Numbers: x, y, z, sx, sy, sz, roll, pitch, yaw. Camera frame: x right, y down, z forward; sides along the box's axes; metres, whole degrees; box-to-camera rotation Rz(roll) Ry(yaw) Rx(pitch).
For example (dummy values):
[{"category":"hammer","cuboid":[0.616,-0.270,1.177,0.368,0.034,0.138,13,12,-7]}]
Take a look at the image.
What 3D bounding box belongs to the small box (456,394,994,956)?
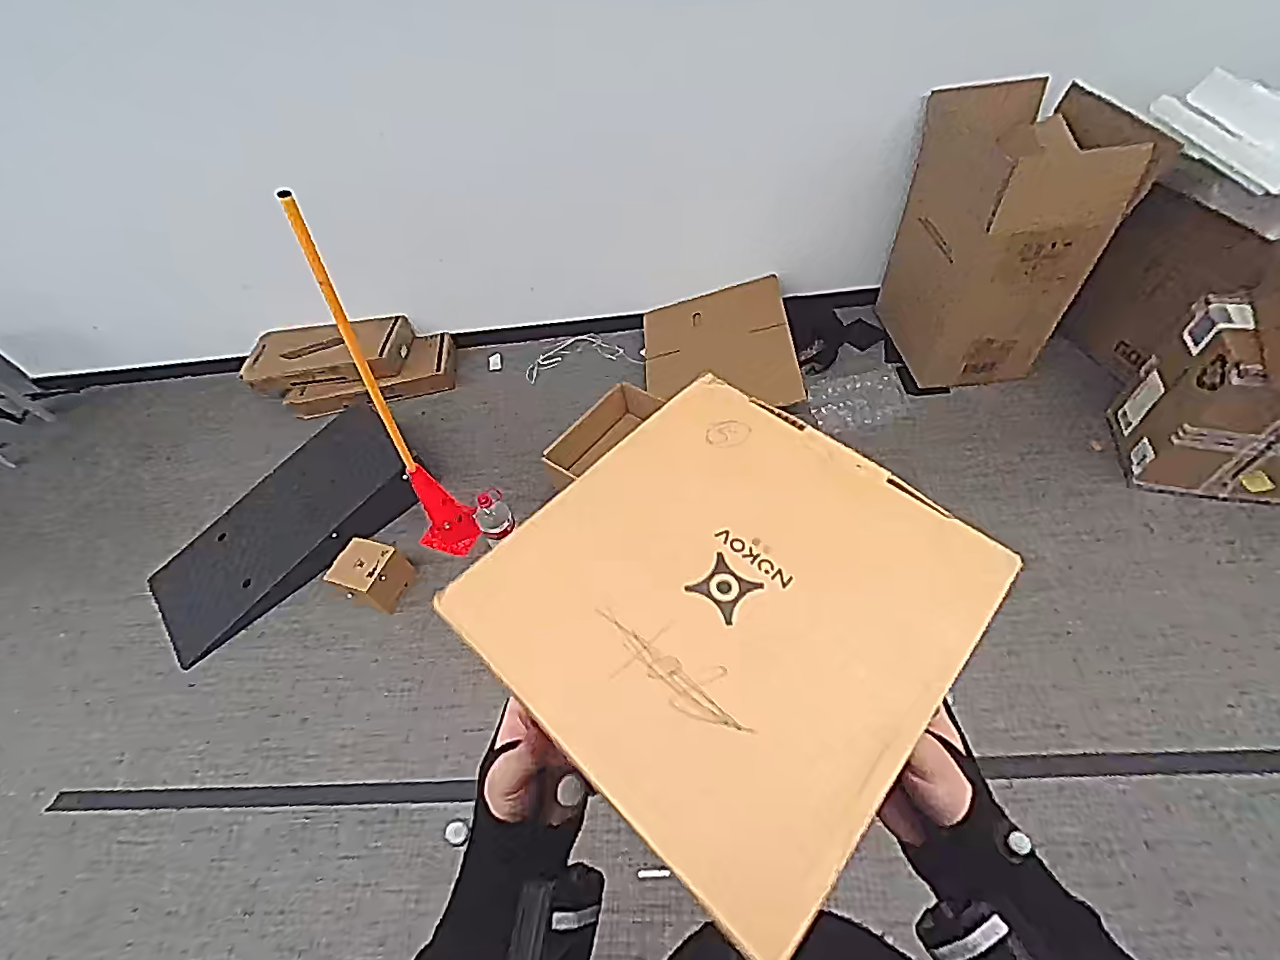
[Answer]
[{"category":"small box","cuboid":[0.039,0.094,0.294,0.168,0.176,0.179,35,64,25]}]
